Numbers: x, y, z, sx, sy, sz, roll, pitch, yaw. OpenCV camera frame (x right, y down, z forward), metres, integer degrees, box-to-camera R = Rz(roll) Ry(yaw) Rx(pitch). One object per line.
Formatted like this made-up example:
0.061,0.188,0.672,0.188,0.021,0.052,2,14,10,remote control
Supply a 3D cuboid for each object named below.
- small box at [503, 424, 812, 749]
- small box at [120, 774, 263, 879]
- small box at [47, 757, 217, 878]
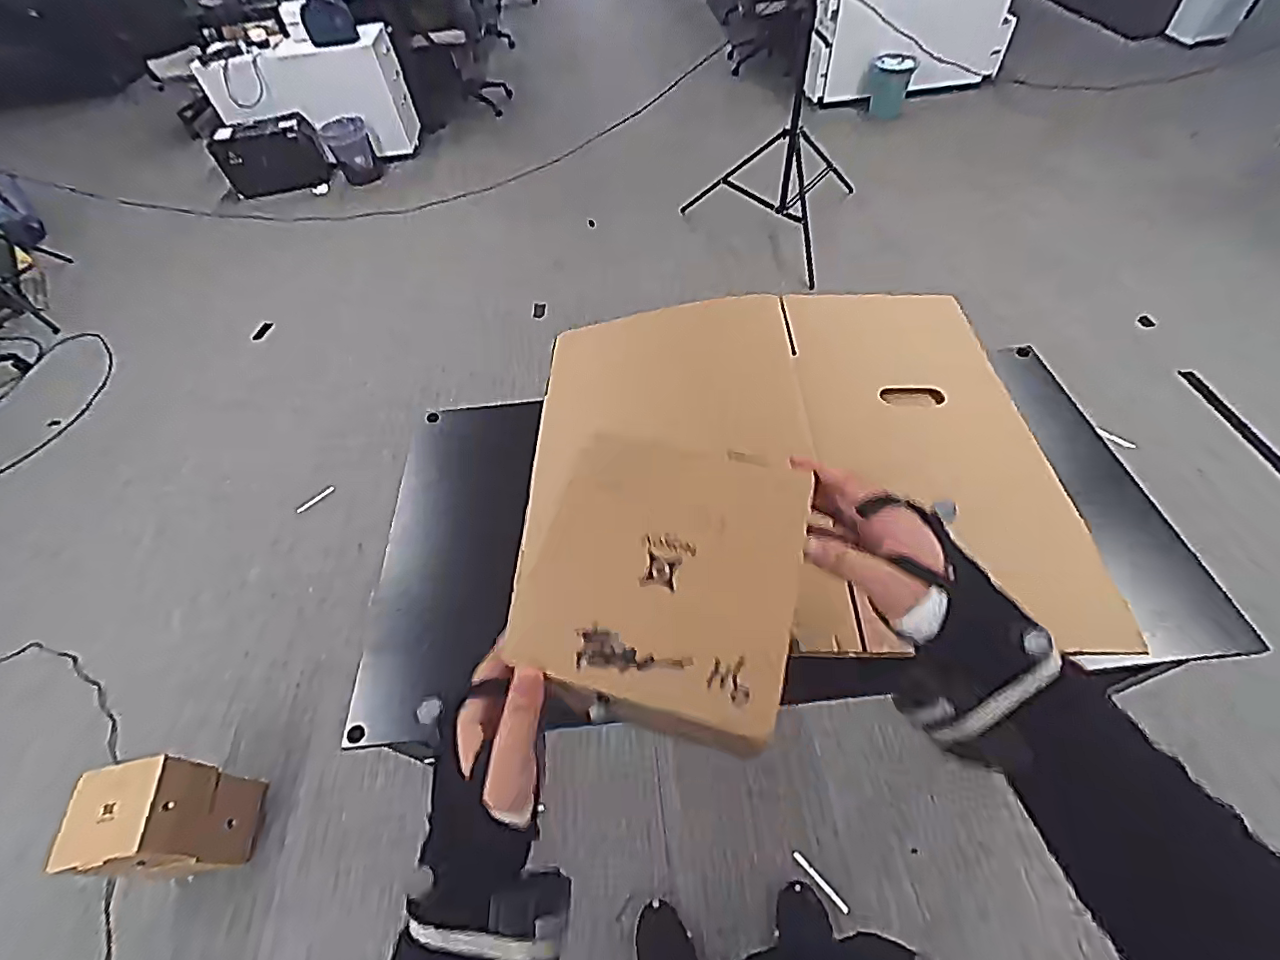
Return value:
0.025,0.086,0.413,0.168,0.176,0.179,10,61,14,small box
-1.010,0.797,1.240,0.168,0.176,0.179,-9,54,-2,small box
-1.024,0.696,1.113,0.168,0.176,0.179,-11,52,-4,small box
